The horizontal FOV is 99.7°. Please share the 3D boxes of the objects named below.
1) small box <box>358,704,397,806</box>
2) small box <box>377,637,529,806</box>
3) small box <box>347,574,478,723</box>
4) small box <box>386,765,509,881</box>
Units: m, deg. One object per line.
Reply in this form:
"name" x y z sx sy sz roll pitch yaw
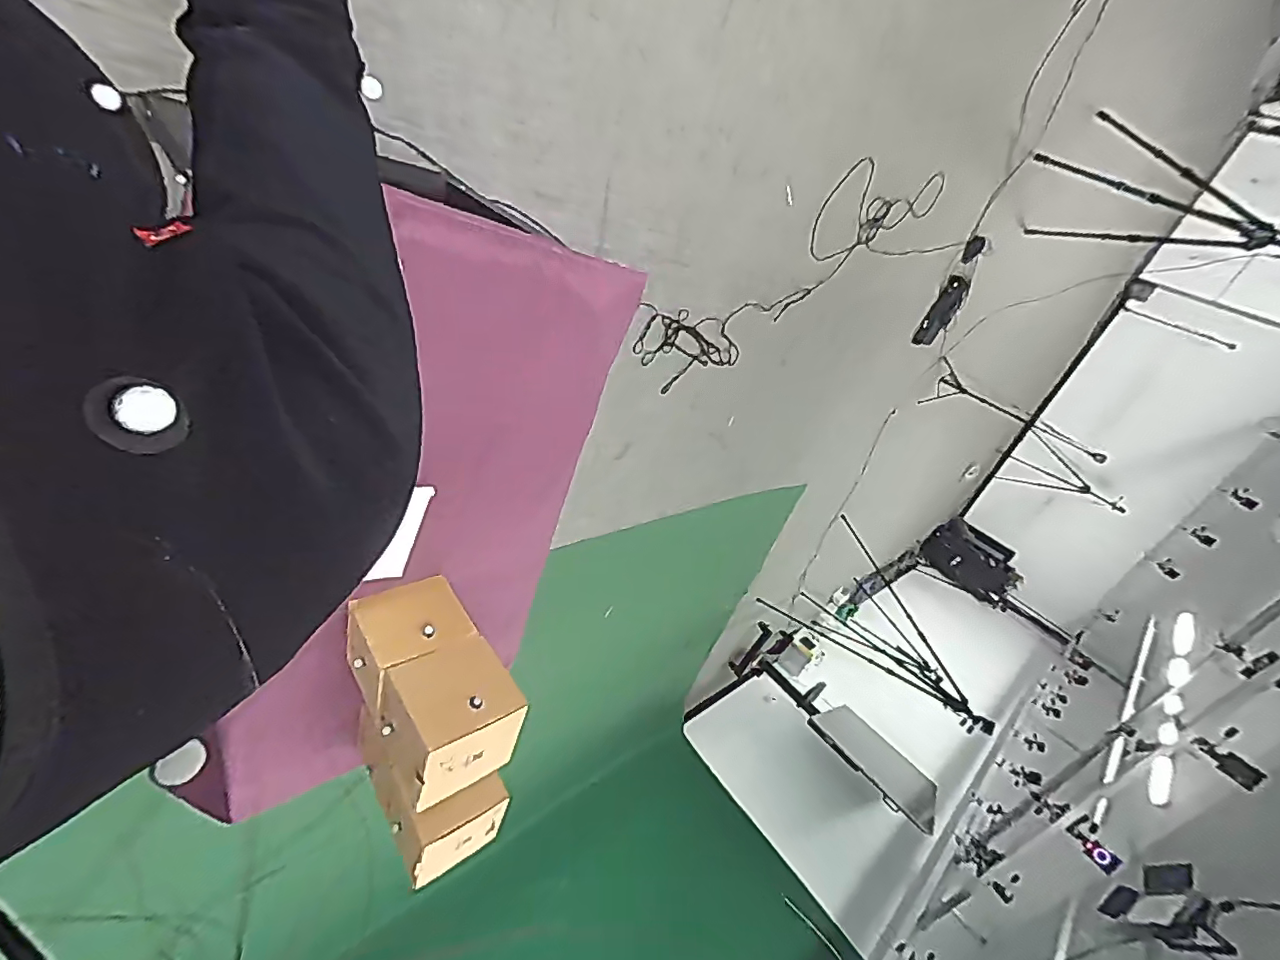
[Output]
"small box" -0.500 0.561 1.191 0.179 0.176 0.168 -9 131 -44
"small box" -0.324 0.399 0.926 0.179 0.176 0.168 -9 130 -44
"small box" -0.430 0.305 1.010 0.179 0.176 0.168 -13 133 -42
"small box" -0.397 0.648 1.098 0.179 0.176 0.168 -9 131 -43
